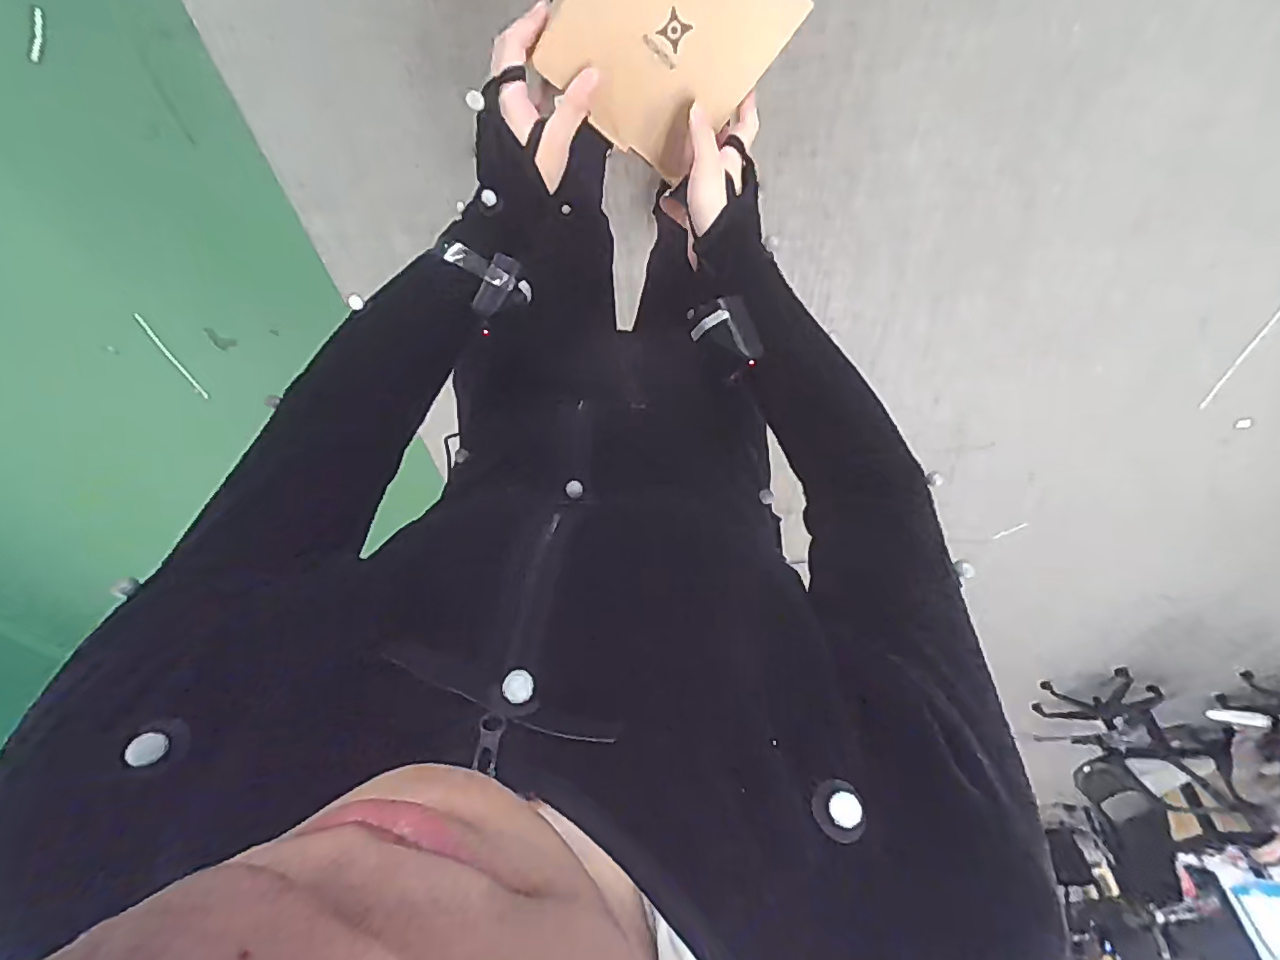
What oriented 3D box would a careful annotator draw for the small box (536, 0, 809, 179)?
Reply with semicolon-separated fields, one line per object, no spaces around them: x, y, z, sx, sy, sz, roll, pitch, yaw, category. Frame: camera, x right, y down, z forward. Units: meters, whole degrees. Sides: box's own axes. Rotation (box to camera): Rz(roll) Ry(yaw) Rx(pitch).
0.018;-0.434;0.504;0.168;0.176;0.179;23;128;-34;small box
